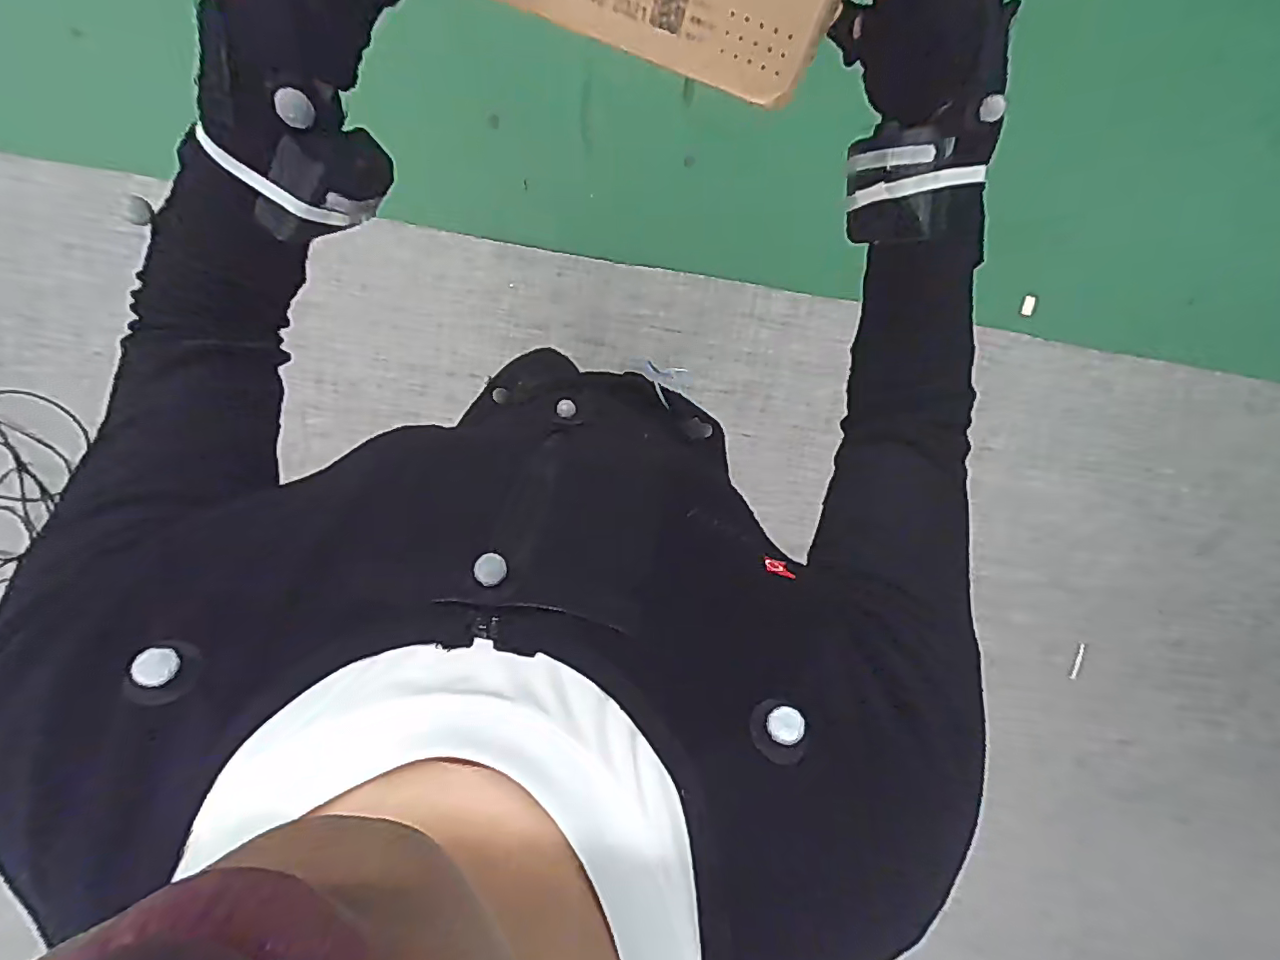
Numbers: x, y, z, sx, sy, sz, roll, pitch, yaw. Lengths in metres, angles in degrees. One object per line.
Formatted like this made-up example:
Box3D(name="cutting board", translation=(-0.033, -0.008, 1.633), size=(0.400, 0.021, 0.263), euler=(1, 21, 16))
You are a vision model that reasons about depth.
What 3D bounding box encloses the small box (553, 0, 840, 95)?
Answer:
Box3D(name="small box", translation=(0.039, -0.312, 0.235), size=(0.168, 0.176, 0.179), euler=(23, 54, 1))
